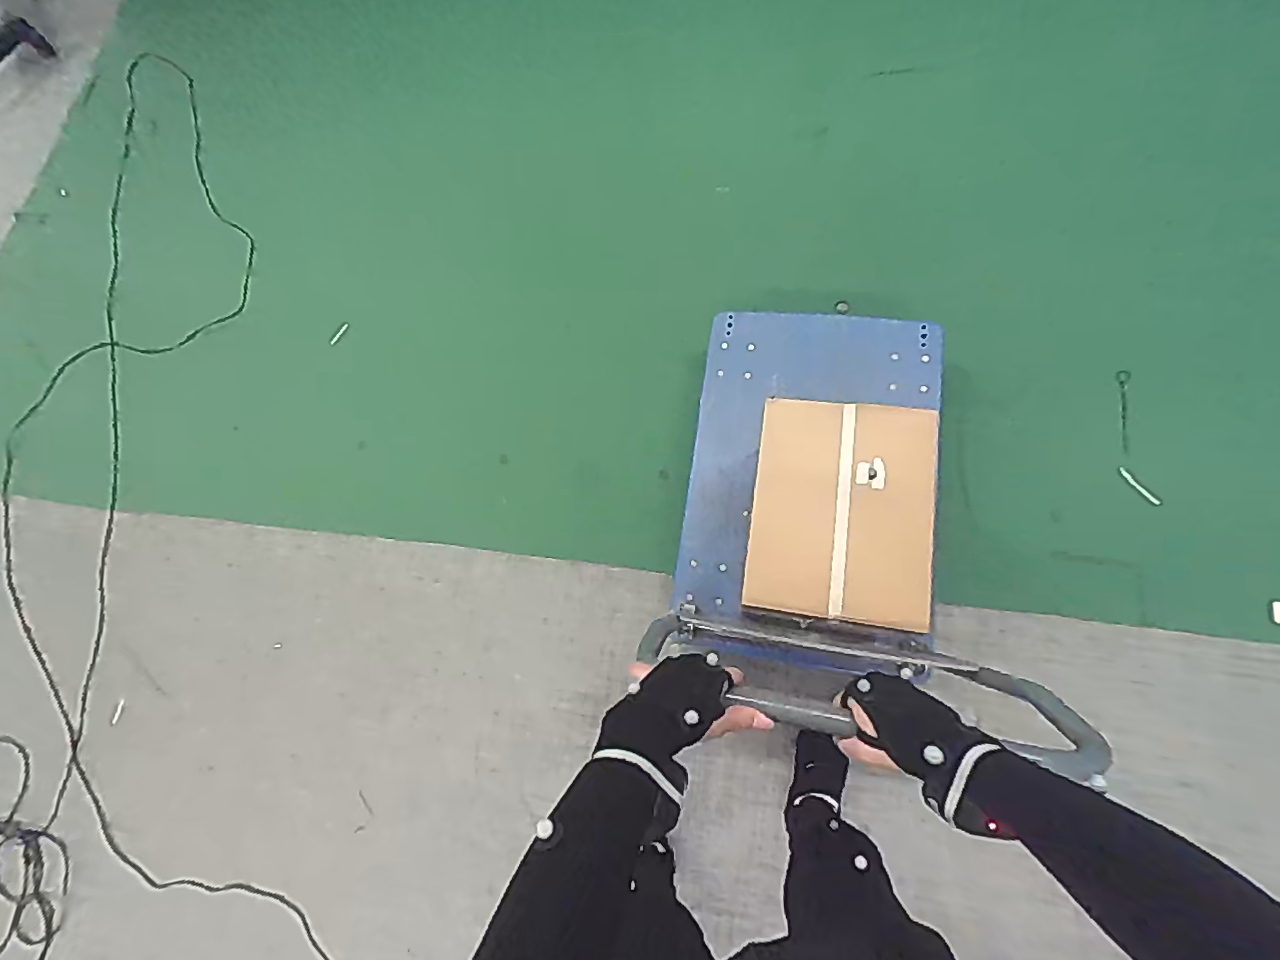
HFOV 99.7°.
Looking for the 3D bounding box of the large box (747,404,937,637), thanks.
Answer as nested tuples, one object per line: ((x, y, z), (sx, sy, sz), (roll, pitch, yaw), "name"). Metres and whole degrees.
((0.393, 0.097, 1.114), (0.320, 0.320, 0.408), (7, 75, 11), "large box")
